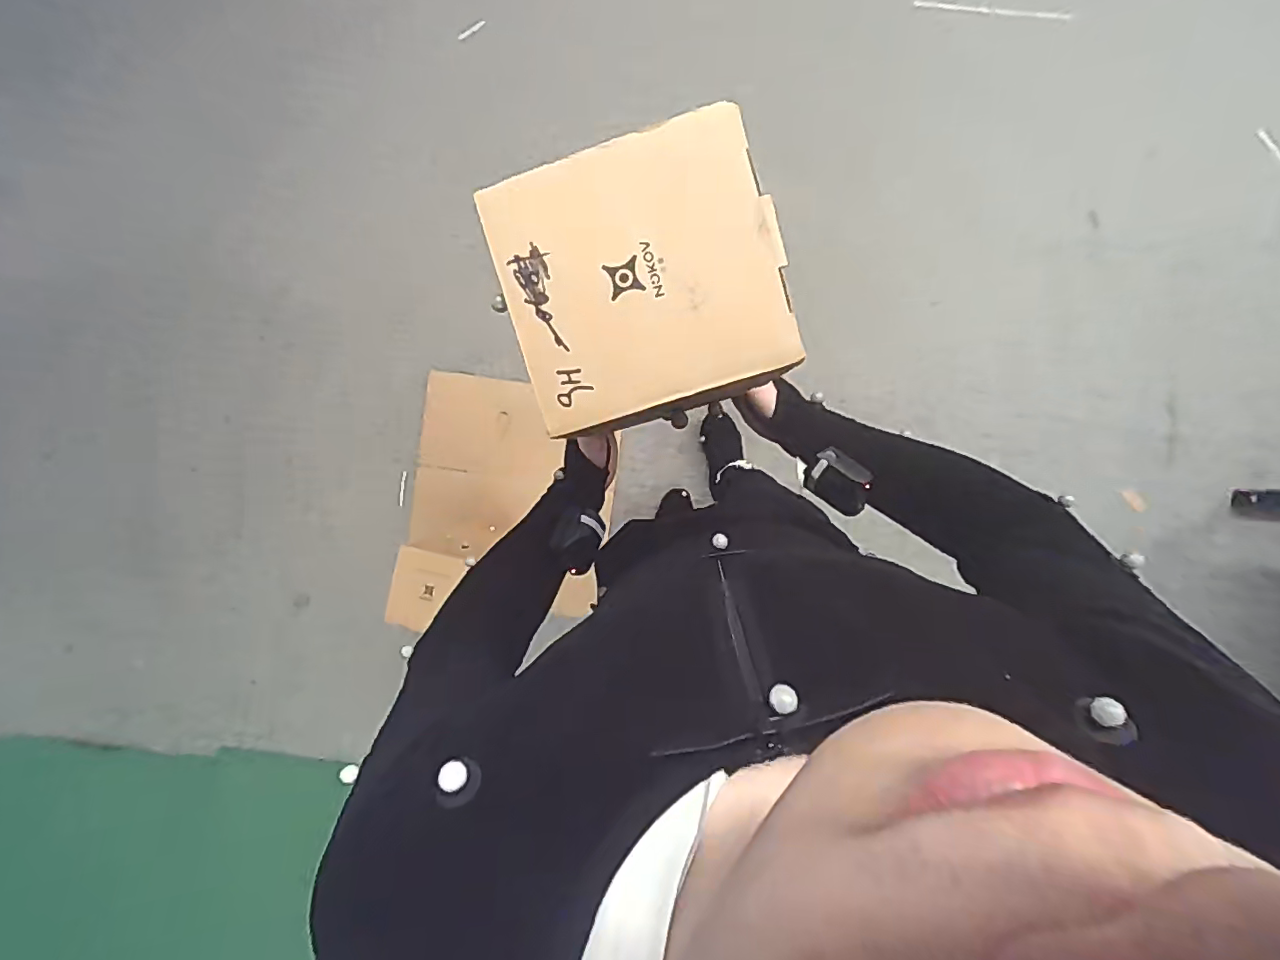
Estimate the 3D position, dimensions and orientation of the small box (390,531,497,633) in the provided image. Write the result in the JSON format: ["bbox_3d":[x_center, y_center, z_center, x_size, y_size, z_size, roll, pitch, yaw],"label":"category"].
[{"bbox_3d":[-0.444,0.227,1.250,0.168,0.176,0.179,14,91,1],"label":"small box"}]

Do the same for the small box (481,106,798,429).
[{"bbox_3d":[0.004,-0.141,0.427,0.179,0.176,0.168,-15,93,5],"label":"small box"}]
